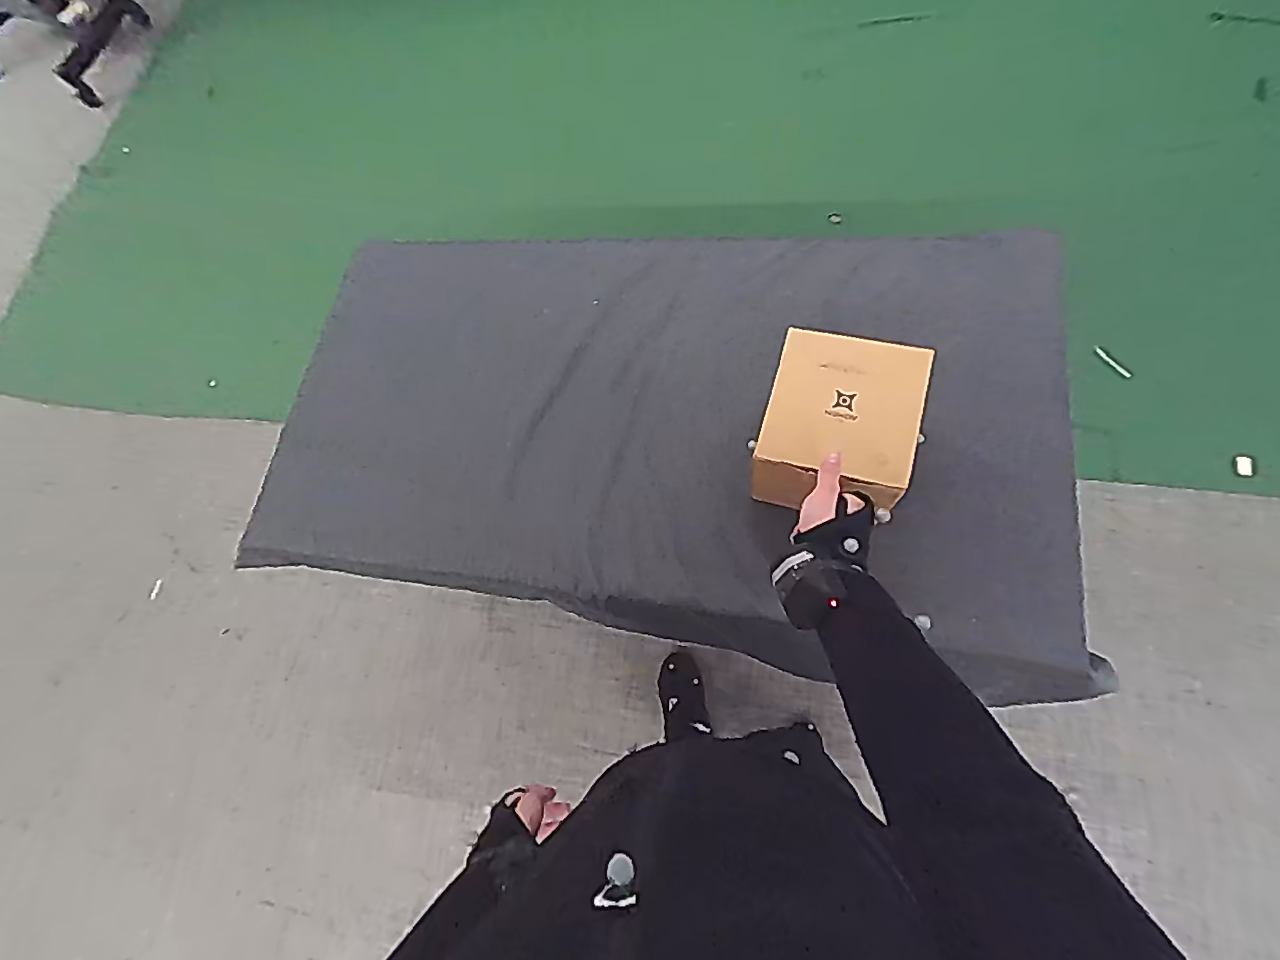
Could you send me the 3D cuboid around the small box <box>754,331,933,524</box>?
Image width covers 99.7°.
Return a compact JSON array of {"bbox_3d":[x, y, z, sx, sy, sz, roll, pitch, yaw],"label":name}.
[{"bbox_3d":[0.246,-0.058,0.688,0.168,0.176,0.179,14,73,14],"label":"small box"}]
